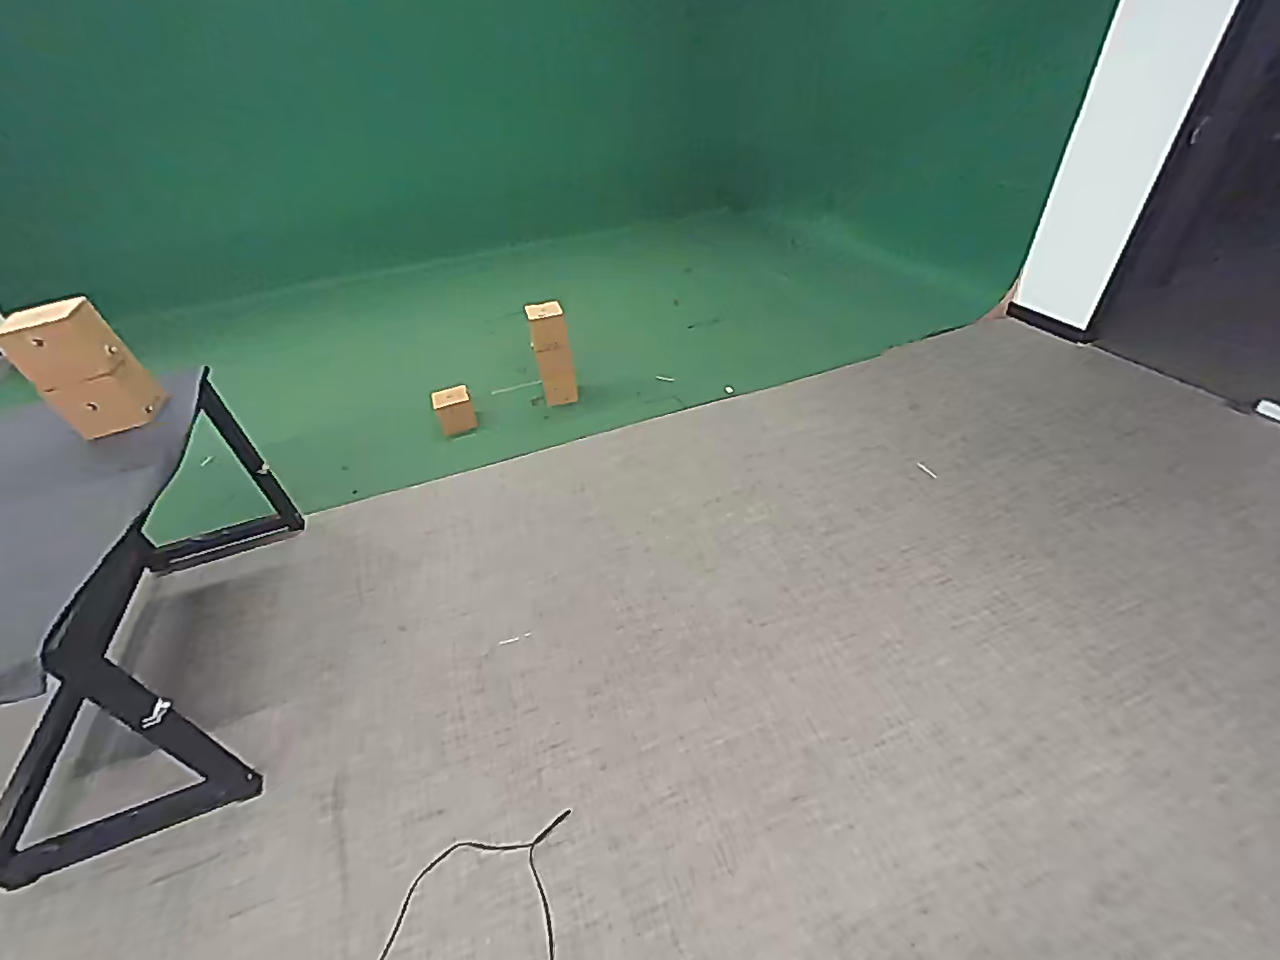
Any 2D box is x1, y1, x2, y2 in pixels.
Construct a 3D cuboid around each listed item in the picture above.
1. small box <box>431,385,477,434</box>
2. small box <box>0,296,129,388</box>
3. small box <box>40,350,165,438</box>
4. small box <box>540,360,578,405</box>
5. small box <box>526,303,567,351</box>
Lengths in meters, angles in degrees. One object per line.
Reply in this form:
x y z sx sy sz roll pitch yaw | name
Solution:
-0.948 -0.355 2.760 0.179 0.176 0.168 -17 42 -13 | small box
-1.565 -0.373 1.471 0.179 0.176 0.168 -21 44 -15 | small box
-1.551 -0.251 1.578 0.179 0.176 0.168 -19 43 -10 | small box
-0.434 -0.514 2.892 0.168 0.176 0.179 -11 40 -7 | small box
-0.462 -0.756 2.671 0.168 0.176 0.179 -13 40 -11 | small box
